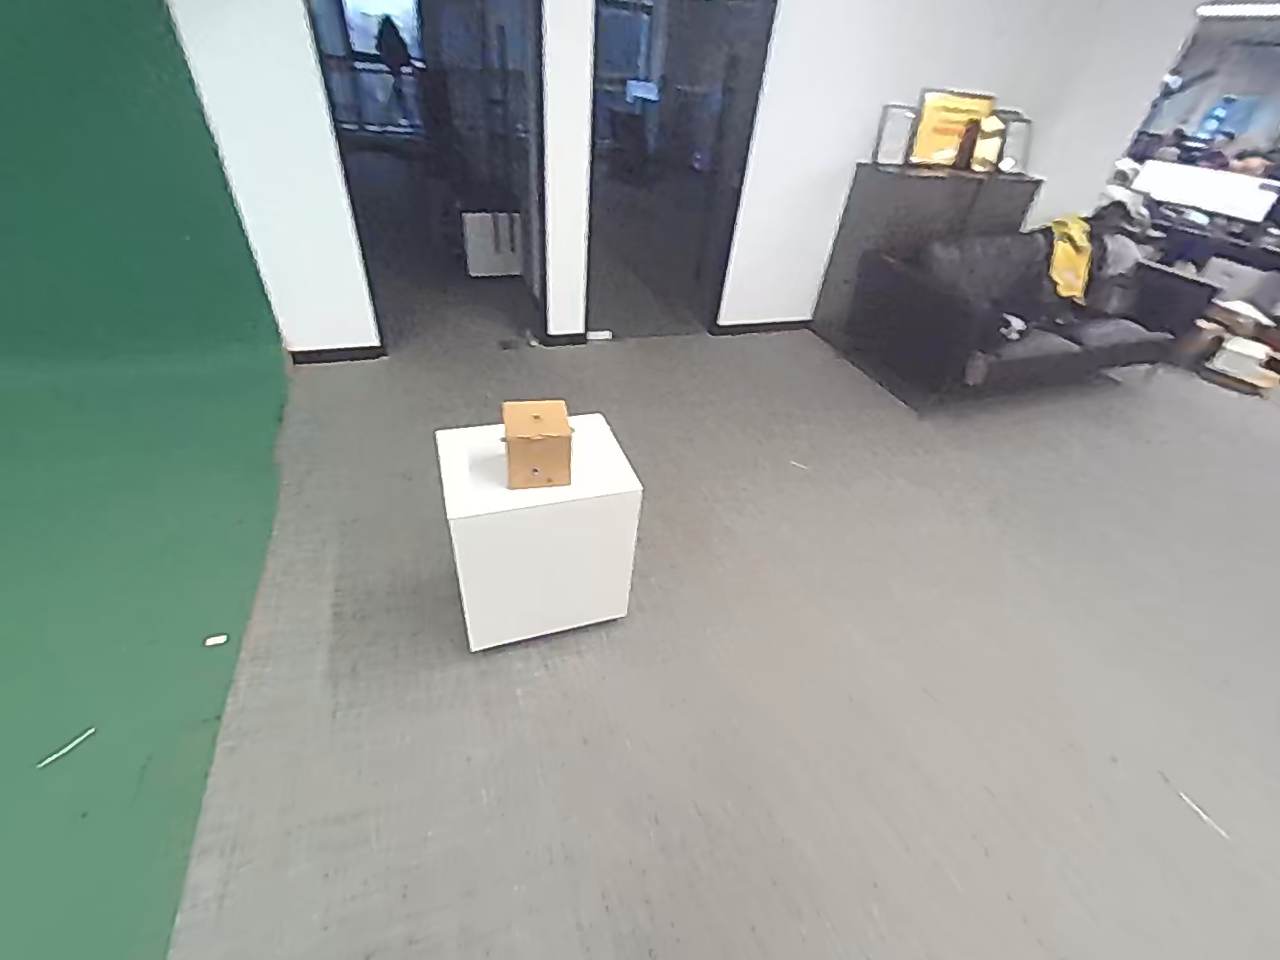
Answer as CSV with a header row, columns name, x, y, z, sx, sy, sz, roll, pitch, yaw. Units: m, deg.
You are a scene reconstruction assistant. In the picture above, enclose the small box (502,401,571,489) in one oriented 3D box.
name,x,y,z,sx,sy,sz,roll,pitch,yaw
small box,-0.280,-0.094,1.449,0.168,0.176,0.179,-5,39,-14
